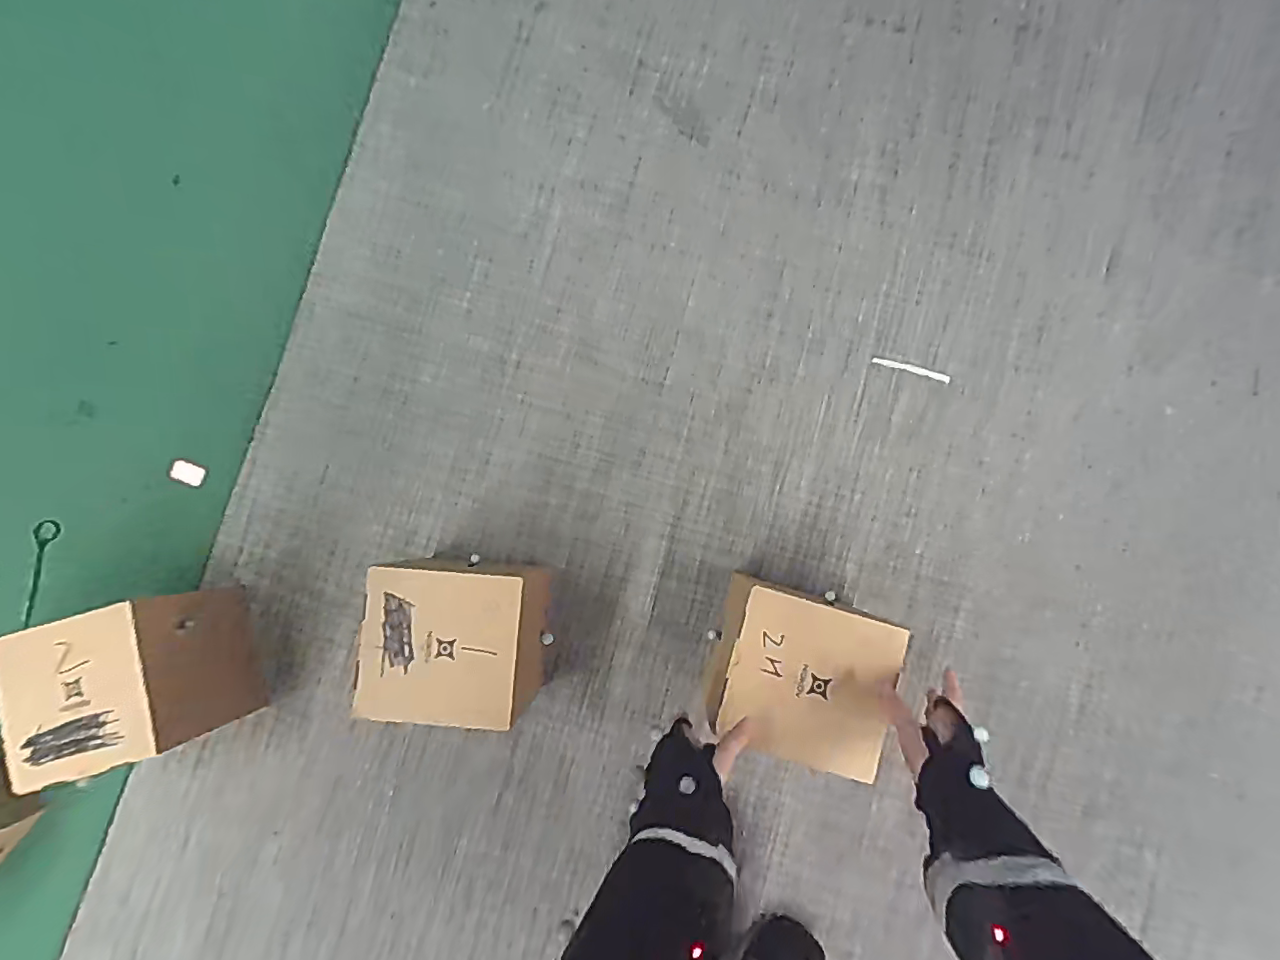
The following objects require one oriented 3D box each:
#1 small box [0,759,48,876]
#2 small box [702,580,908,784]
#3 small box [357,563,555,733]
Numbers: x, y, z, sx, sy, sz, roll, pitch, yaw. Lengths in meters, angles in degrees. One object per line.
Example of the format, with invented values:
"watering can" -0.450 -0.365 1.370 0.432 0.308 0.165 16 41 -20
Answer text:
"small box" -0.932 0.461 0.673 0.179 0.176 0.168 40 87 6
"small box" 0.184 0.225 0.653 0.179 0.176 0.168 16 84 4
"small box" -0.213 0.194 0.671 0.179 0.176 0.168 4 85 2
